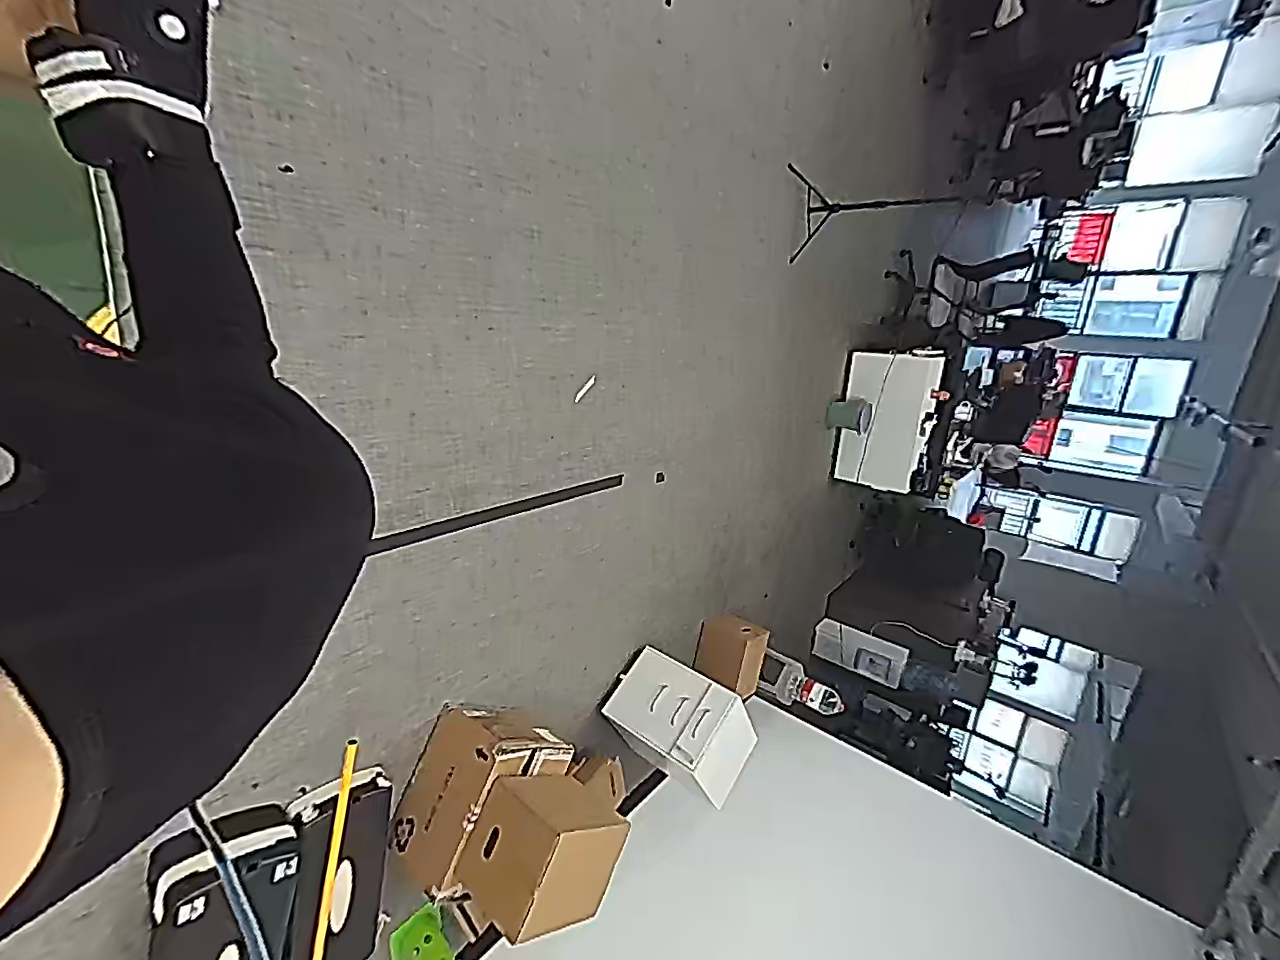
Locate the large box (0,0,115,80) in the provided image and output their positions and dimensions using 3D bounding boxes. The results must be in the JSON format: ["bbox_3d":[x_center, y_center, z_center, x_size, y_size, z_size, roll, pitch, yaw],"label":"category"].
[{"bbox_3d":[-0.602,-0.451,0.271,0.408,0.320,0.320,-18,127,-50],"label":"large box"}]
